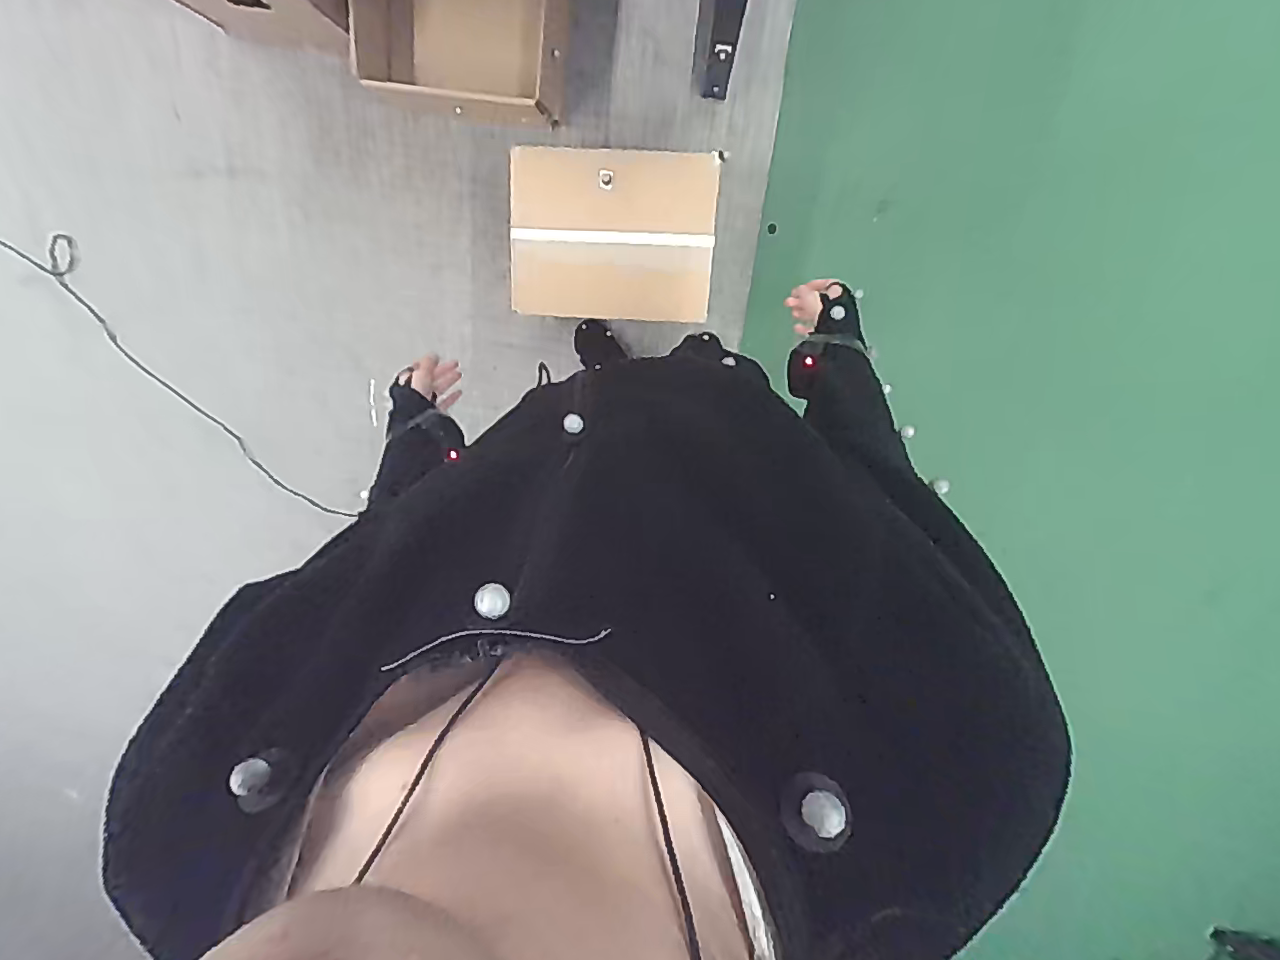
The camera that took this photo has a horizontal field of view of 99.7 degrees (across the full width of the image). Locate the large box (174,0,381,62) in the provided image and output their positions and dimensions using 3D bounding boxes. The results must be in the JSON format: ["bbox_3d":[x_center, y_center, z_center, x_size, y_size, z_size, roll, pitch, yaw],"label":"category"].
[{"bbox_3d":[-0.738,-1.128,1.057,0.320,0.320,0.408,7,110,1],"label":"large box"}]
